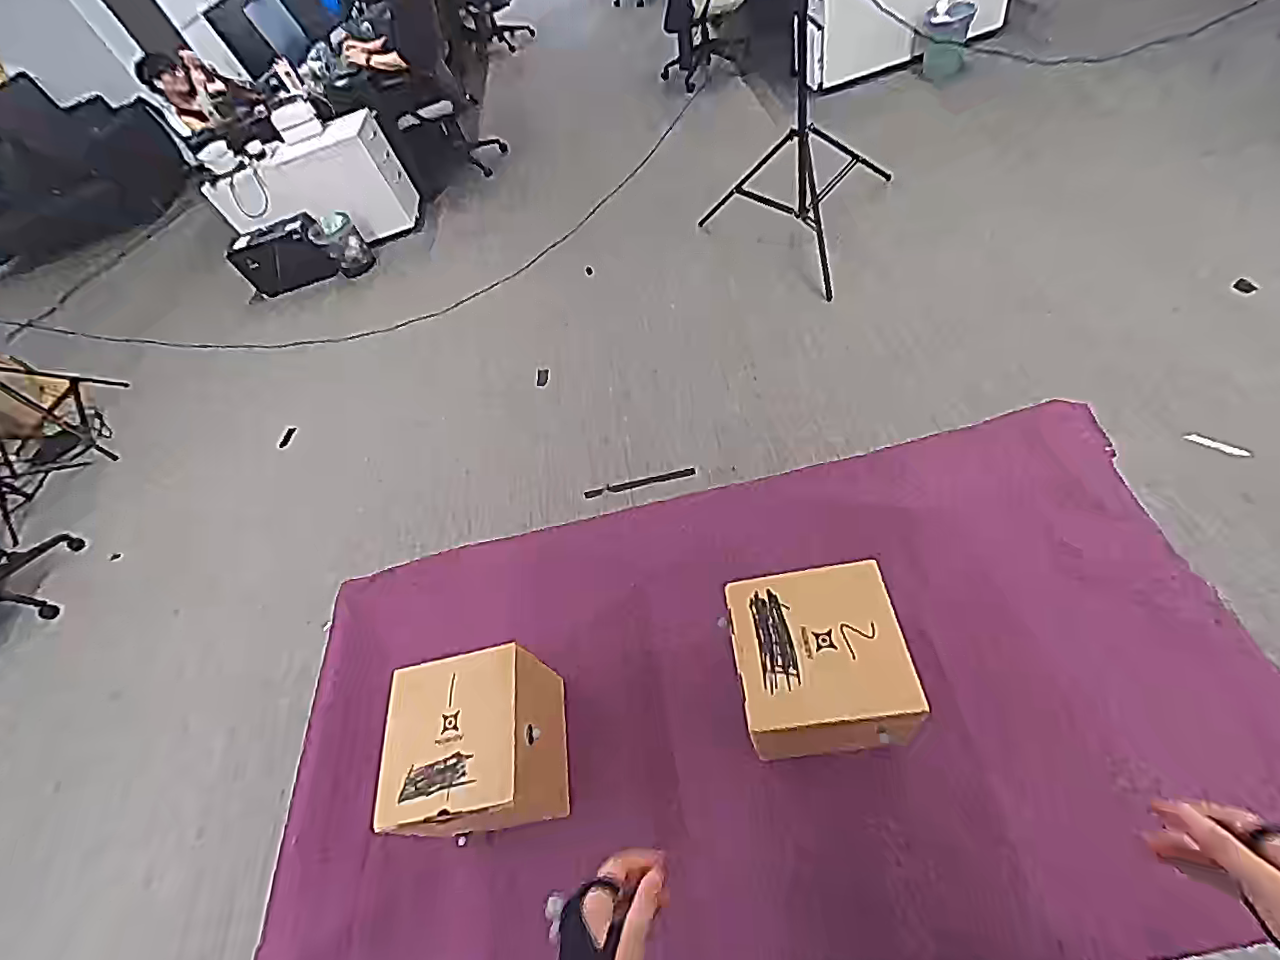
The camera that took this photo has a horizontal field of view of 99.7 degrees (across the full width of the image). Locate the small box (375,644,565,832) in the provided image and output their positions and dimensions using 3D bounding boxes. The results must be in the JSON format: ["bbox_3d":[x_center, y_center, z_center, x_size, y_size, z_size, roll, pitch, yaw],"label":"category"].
[{"bbox_3d":[-0.199,0.333,0.685,0.168,0.176,0.179,-14,52,6],"label":"small box"}]
